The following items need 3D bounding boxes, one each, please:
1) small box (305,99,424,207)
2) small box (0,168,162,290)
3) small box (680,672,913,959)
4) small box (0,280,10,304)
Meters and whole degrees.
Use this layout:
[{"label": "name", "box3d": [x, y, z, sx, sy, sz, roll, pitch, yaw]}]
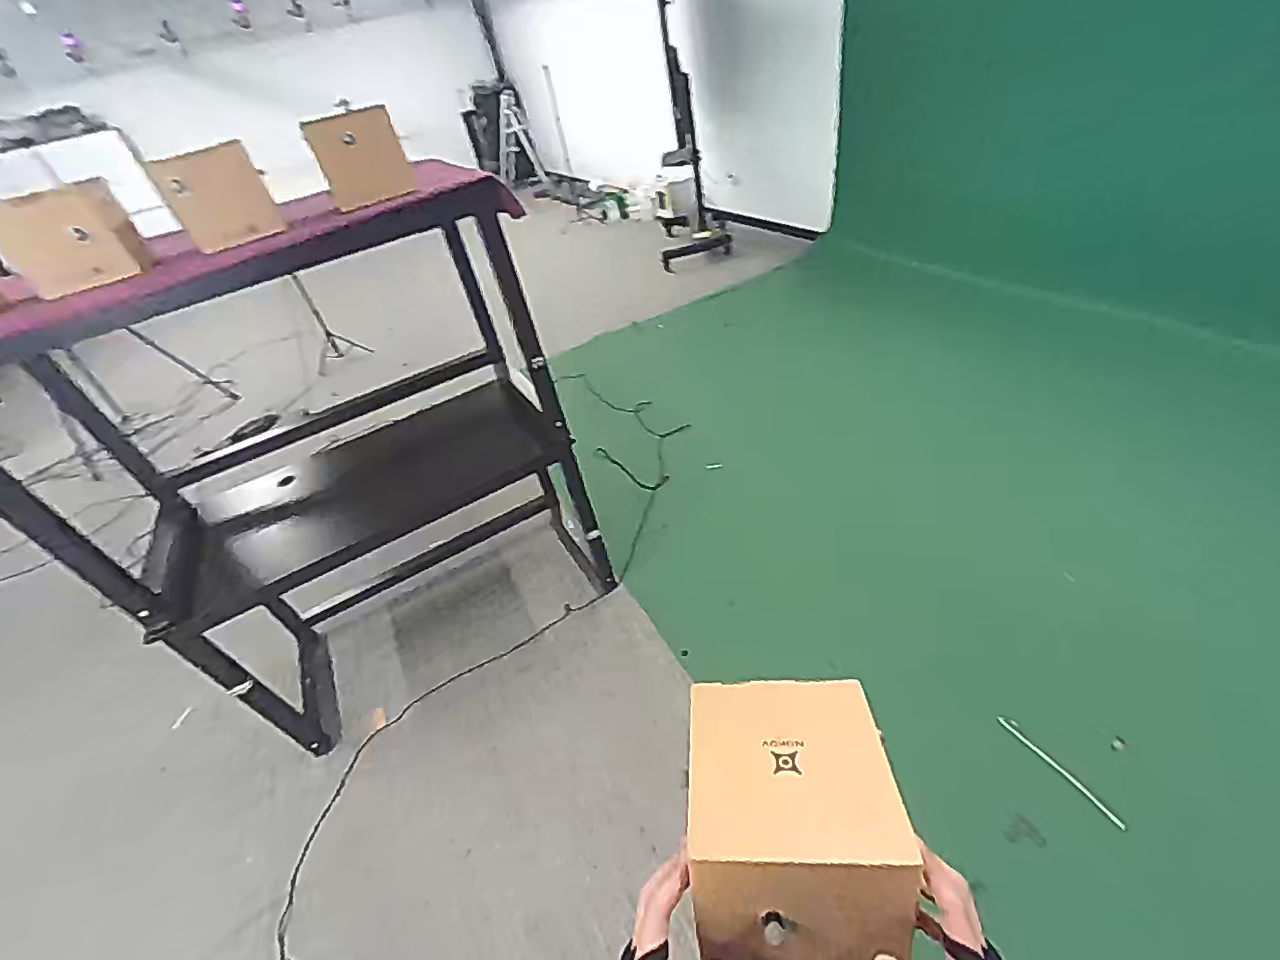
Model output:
[{"label": "small box", "box3d": [-0.612, -0.724, 1.204, 0.179, 0.176, 0.168, -26, 40, -16]}, {"label": "small box", "box3d": [-1.086, -0.486, 1.050, 0.168, 0.176, 0.179, -25, 39, -15]}, {"label": "small box", "box3d": [0.129, 0.301, 0.488, 0.168, 0.176, 0.179, -5, 23, 8]}, {"label": "small box", "box3d": [-1.319, -0.367, 0.969, 0.179, 0.176, 0.168, -27, 40, -19]}]
